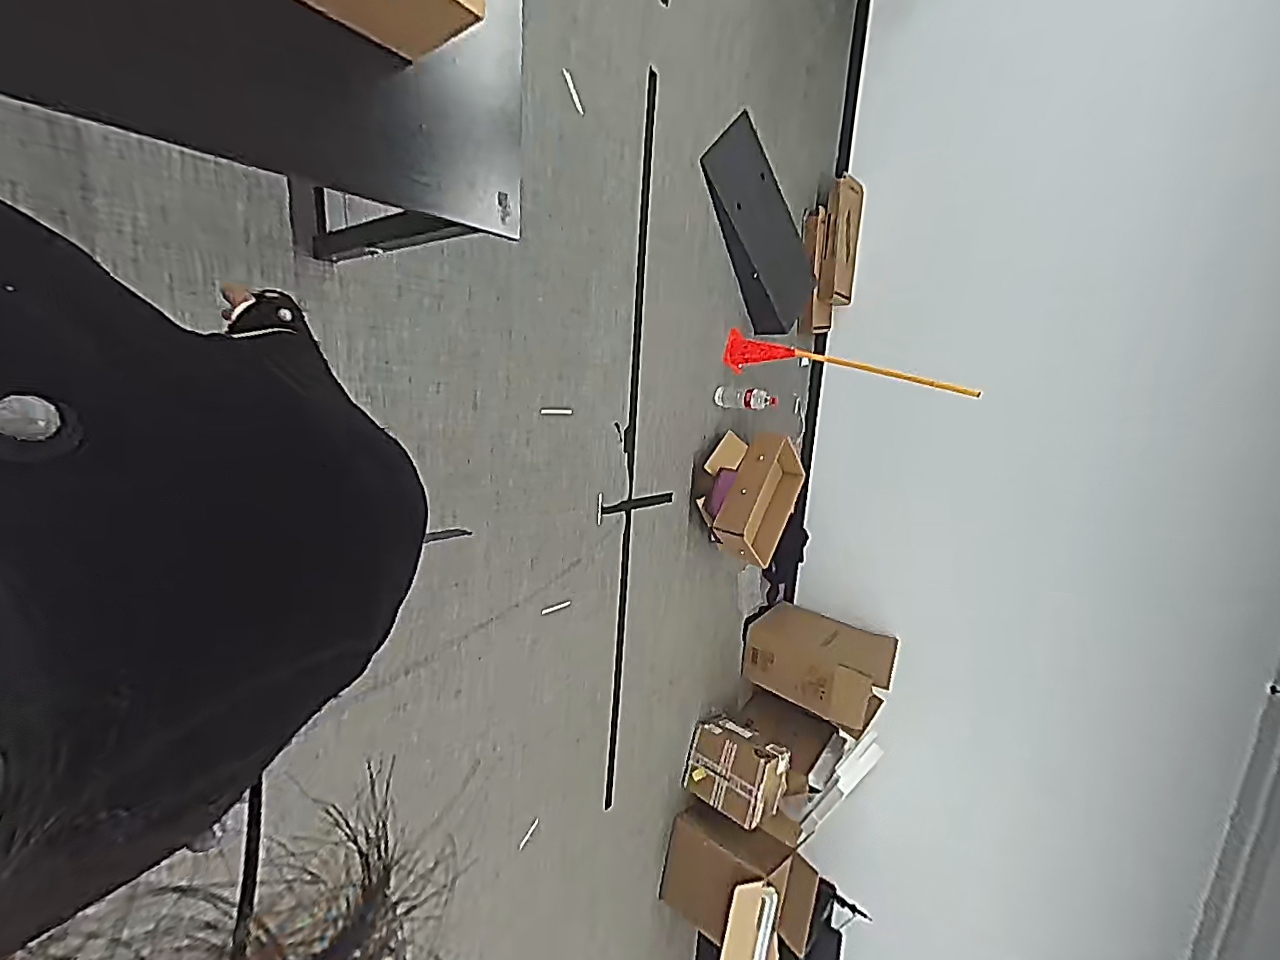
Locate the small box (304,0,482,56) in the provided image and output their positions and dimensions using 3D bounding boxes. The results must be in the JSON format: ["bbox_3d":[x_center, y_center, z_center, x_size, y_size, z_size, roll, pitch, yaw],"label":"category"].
[{"bbox_3d":[-0.305,-0.645,0.632,0.179,0.176,0.168,-6,104,-51],"label":"small box"}]
